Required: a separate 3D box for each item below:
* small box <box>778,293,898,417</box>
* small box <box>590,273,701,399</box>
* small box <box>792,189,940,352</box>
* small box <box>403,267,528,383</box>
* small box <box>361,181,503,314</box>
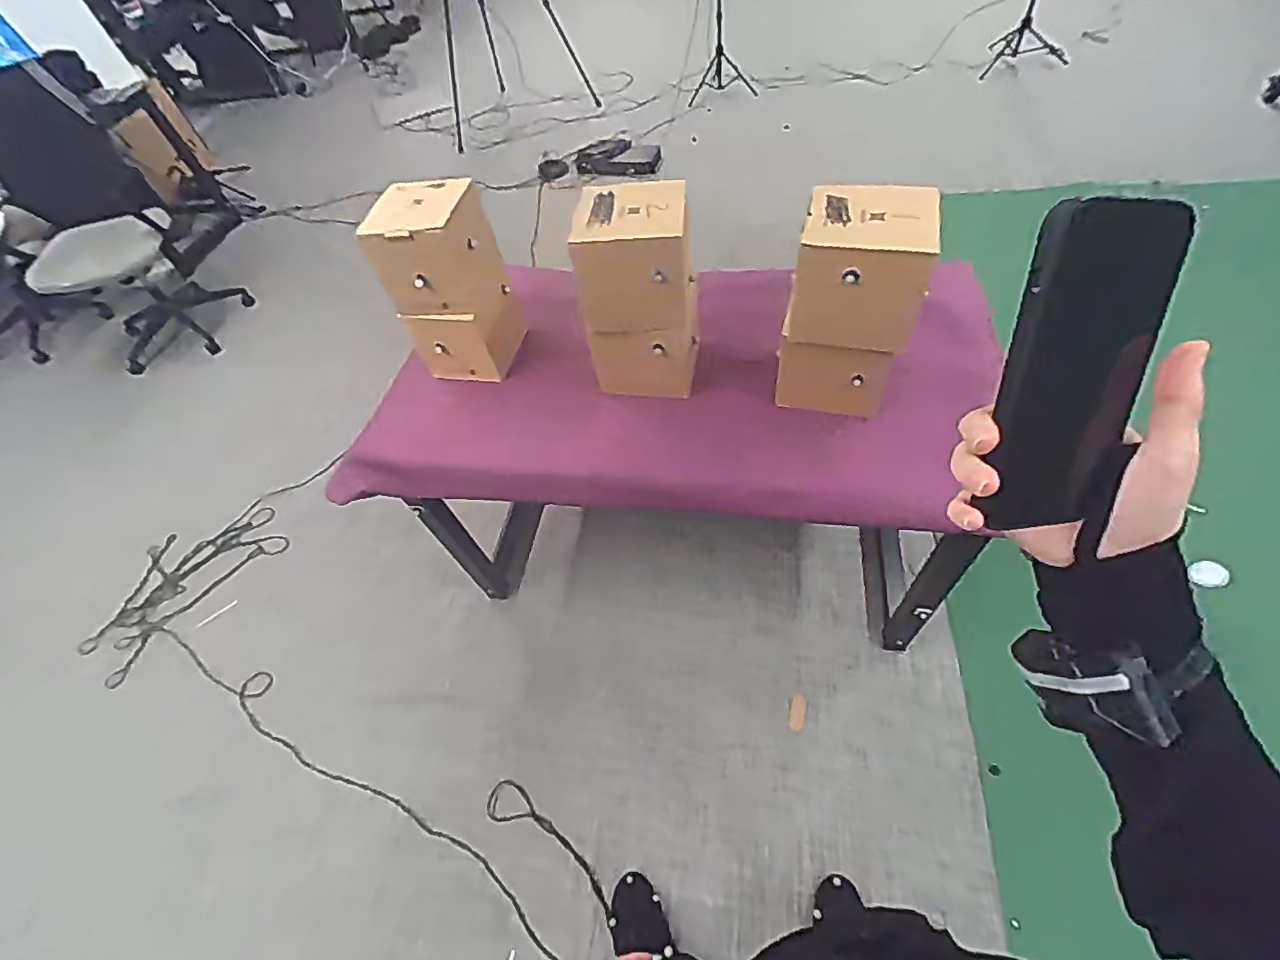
[{"bbox_3d":[0.349,-0.231,0.956,0.179,0.176,0.168,10,56,17],"label":"small box"},{"bbox_3d":[0.021,-0.273,1.039,0.179,0.176,0.168,5,55,13],"label":"small box"},{"bbox_3d":[0.332,-0.313,0.814,0.179,0.176,0.168,10,56,16],"label":"small box"},{"bbox_3d":[-0.353,-0.324,1.140,0.168,0.176,0.179,6,55,13],"label":"small box"},{"bbox_3d":[-0.374,-0.427,1.013,0.168,0.176,0.179,2,55,10],"label":"small box"}]
